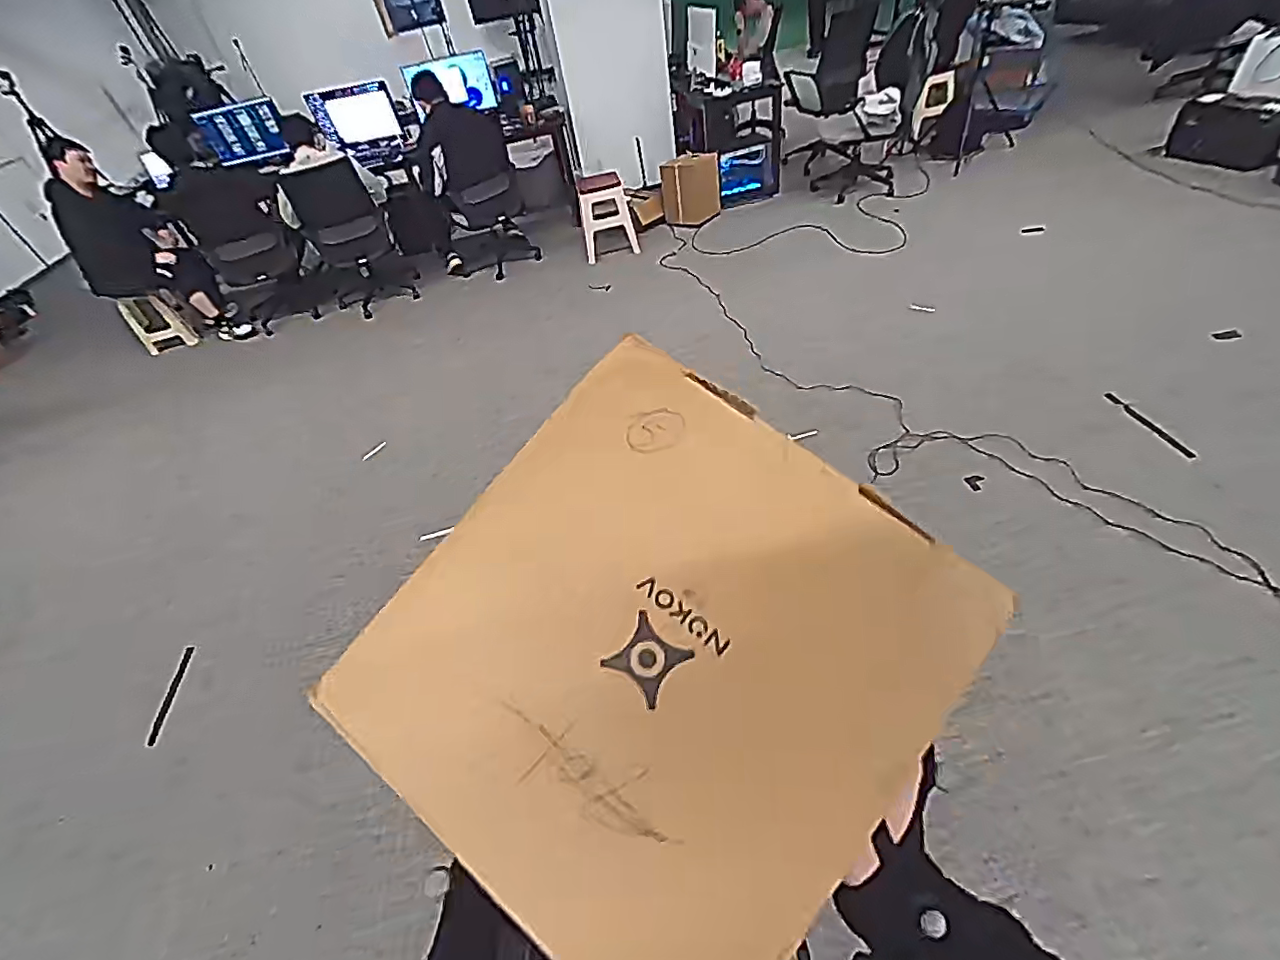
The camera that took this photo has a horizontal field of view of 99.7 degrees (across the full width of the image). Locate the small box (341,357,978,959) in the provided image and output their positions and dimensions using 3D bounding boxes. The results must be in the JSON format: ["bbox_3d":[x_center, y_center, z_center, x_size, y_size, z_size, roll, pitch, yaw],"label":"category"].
[{"bbox_3d":[0.011,0.080,0.269,0.168,0.176,0.179,36,81,14],"label":"small box"}]
